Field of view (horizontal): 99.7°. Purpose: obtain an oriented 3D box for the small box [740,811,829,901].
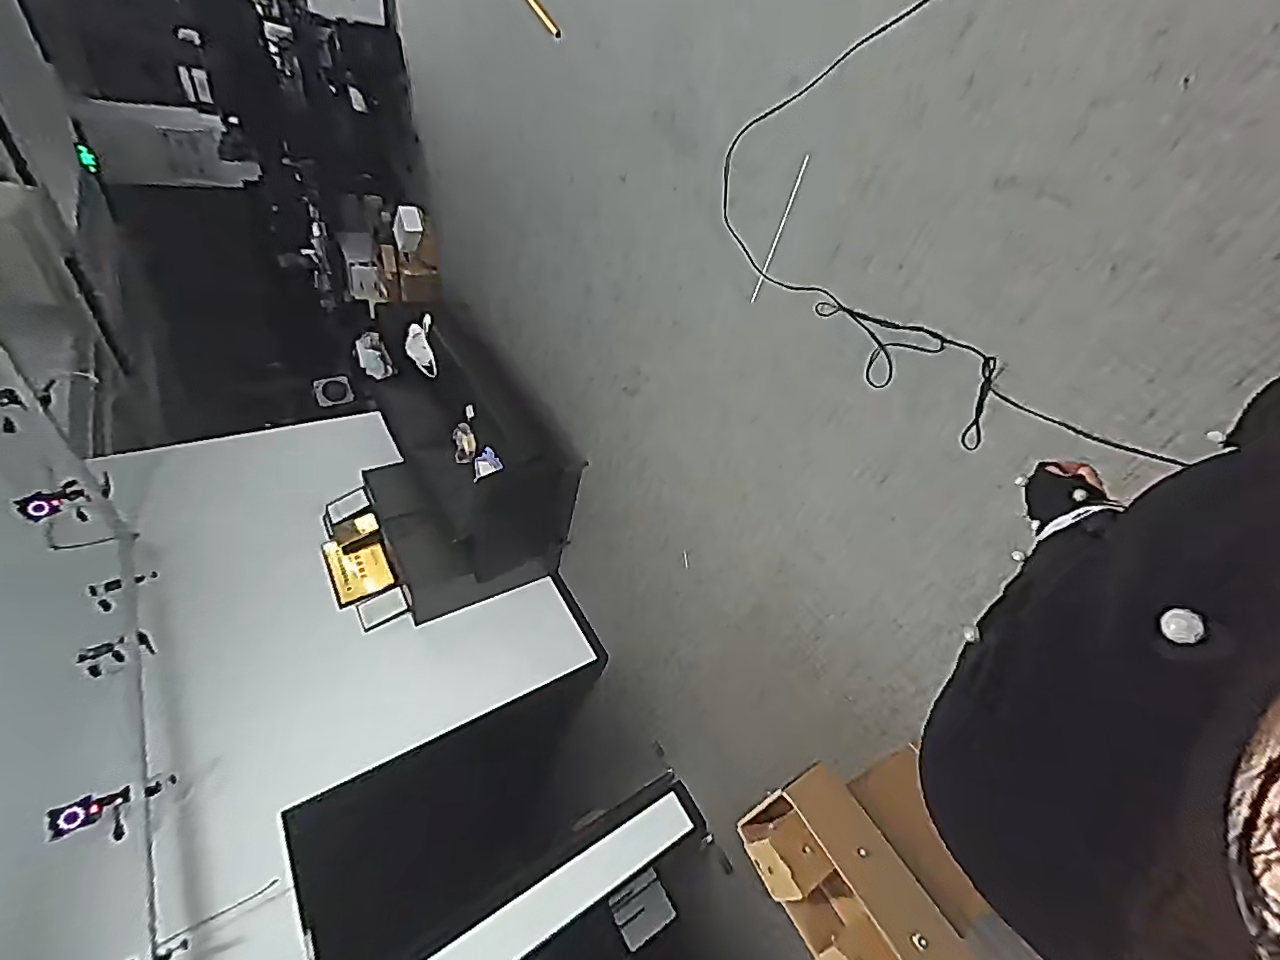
[{"bbox_3d":[0.446,1.146,1.655,0.168,0.176,0.179,58,144,26],"label":"small box"}]
